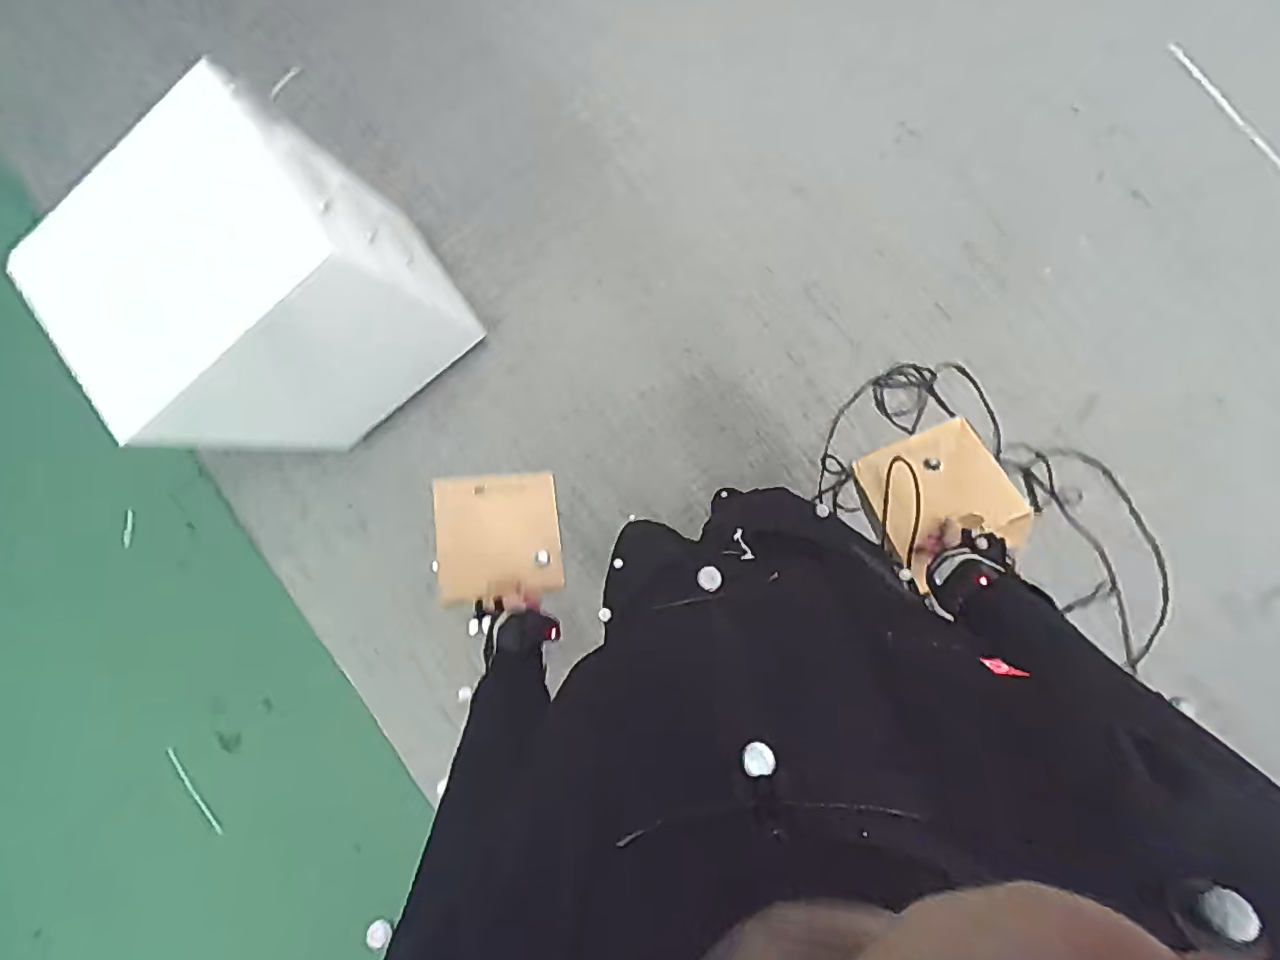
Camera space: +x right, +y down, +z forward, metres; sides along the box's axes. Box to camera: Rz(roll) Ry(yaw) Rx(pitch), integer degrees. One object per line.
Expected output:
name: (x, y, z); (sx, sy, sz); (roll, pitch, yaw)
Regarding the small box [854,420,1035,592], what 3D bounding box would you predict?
small box: (0.436, 0.042, 0.799); (0.168, 0.179, 0.176); (-25, 55, 15)
